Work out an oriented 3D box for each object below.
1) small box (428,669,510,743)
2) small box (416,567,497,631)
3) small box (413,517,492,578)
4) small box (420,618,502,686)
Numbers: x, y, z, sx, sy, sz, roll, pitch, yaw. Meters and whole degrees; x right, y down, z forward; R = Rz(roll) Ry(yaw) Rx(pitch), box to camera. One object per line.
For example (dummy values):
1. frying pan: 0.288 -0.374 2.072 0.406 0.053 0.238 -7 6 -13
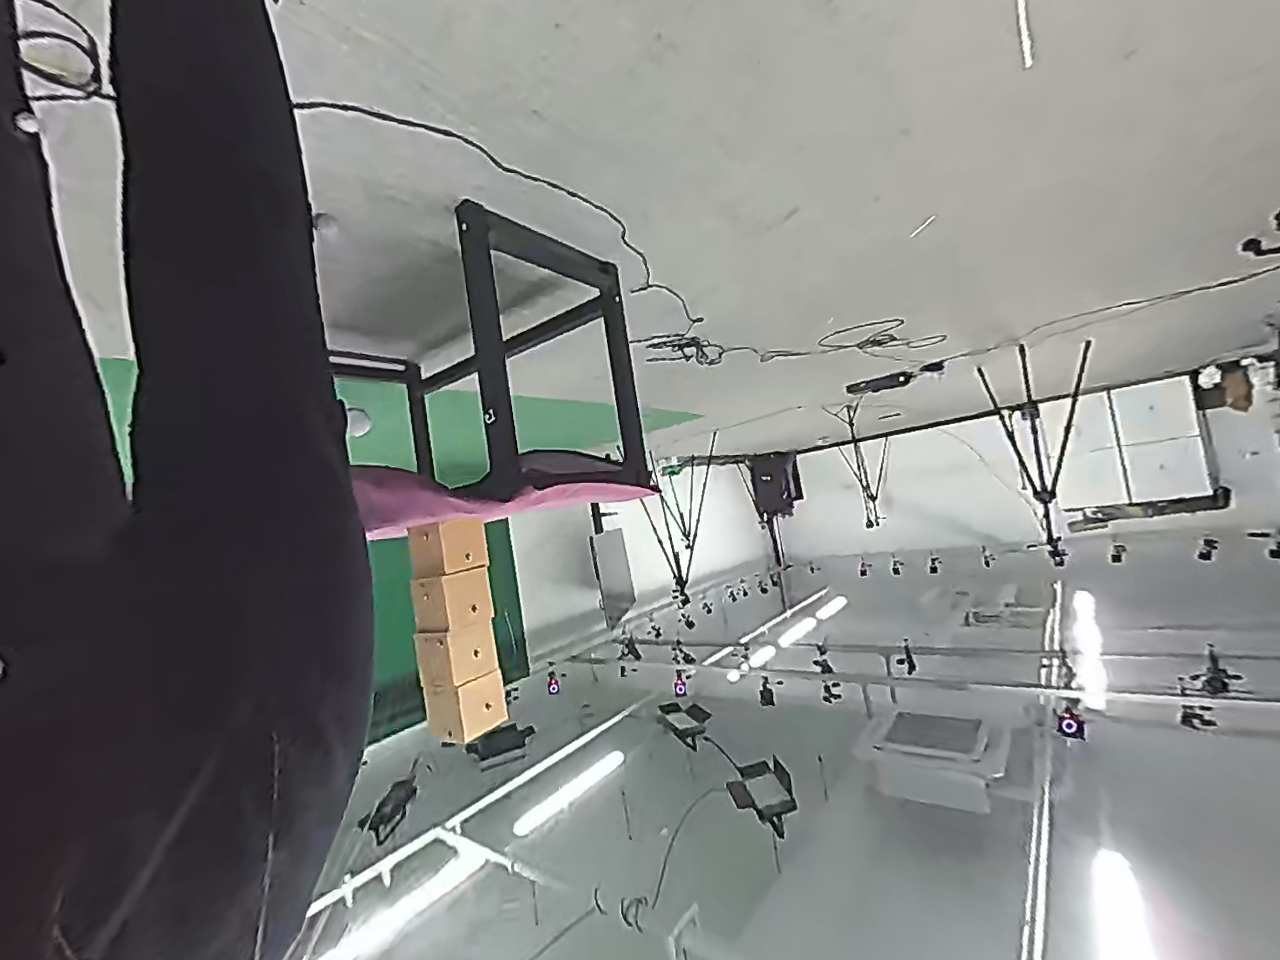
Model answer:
1. small box: -0.538 0.699 1.702 0.168 0.176 0.179 -13 176 32
2. small box: -0.587 0.376 1.725 0.168 0.176 0.179 -13 175 34
3. small box: -0.608 0.215 1.751 0.168 0.176 0.179 -12 175 32
4. small box: -0.568 0.538 1.709 0.168 0.176 0.179 -12 176 33
